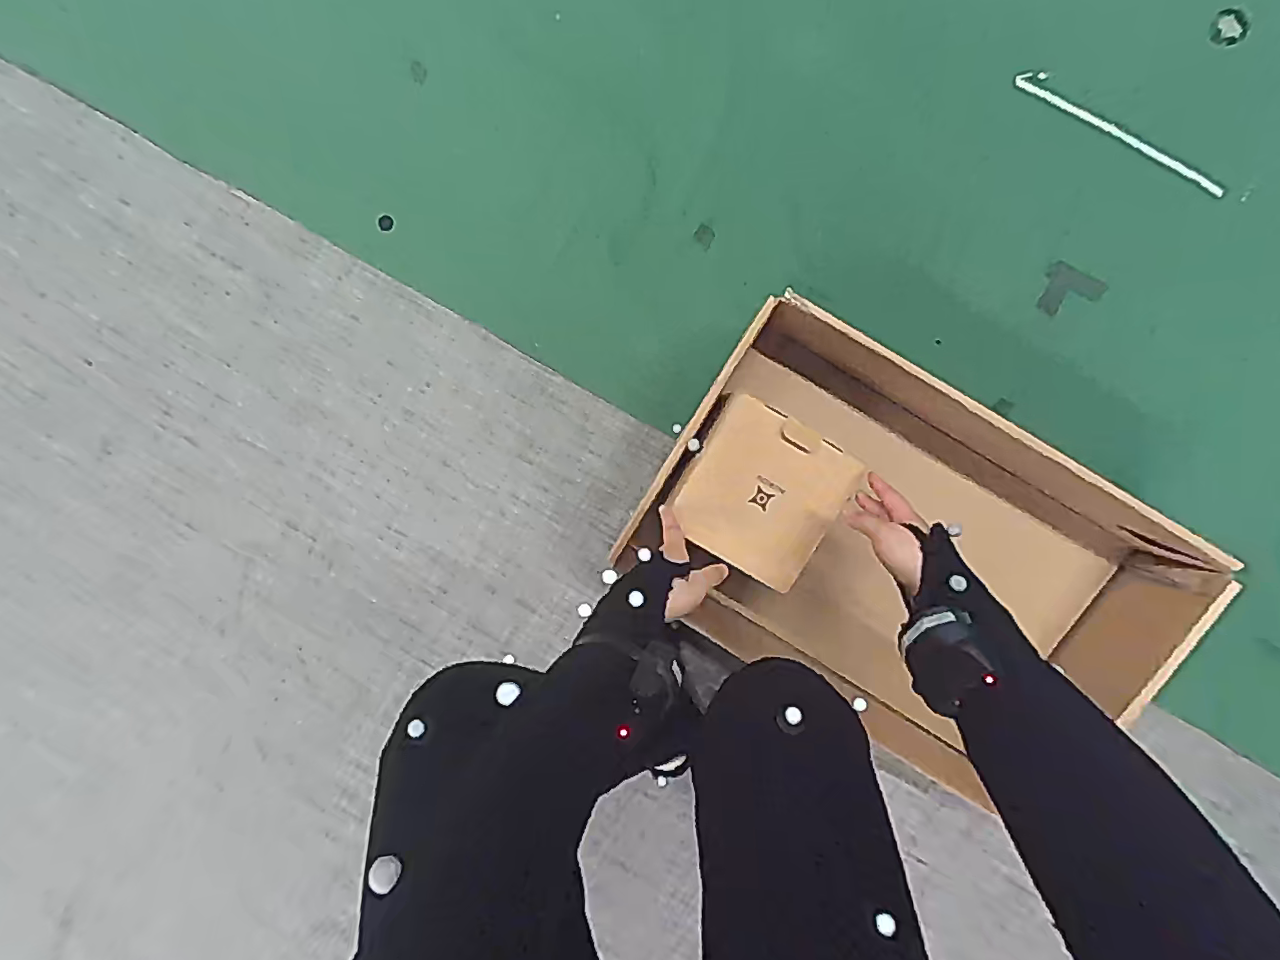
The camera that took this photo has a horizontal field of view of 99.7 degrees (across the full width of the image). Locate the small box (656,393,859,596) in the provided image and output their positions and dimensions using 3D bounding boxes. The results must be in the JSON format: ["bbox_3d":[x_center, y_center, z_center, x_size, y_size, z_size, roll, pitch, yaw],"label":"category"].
[{"bbox_3d":[0.134,0.010,0.679,0.168,0.176,0.179,29,96,-1],"label":"small box"}]
